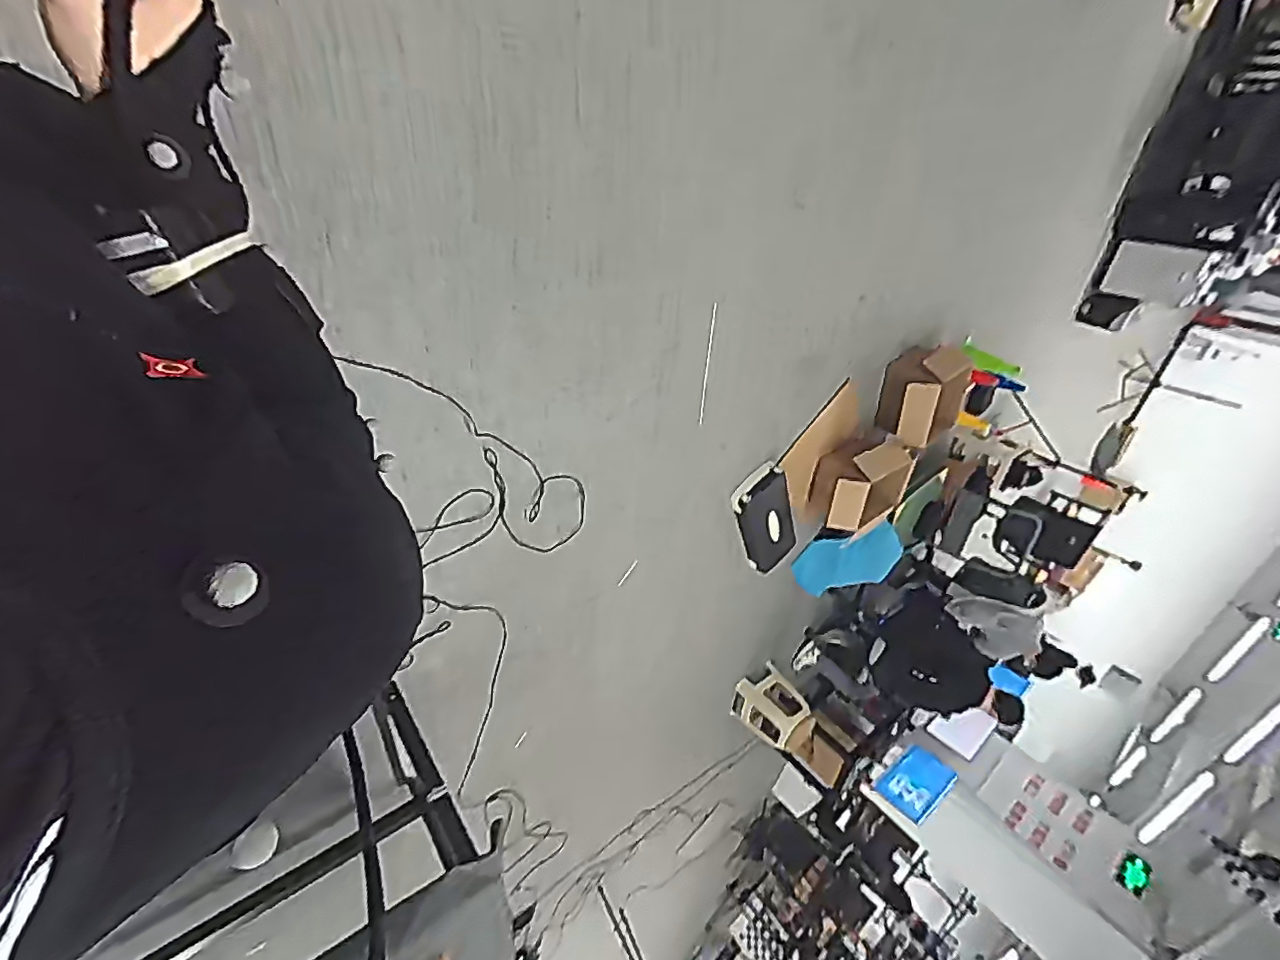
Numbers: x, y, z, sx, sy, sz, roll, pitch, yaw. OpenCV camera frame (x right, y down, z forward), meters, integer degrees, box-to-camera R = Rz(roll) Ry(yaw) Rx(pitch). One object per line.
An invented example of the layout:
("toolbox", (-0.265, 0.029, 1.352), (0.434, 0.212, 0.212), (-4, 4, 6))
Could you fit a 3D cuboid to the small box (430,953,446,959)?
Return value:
("small box", (-0.497, 1.249, 1.238), (0.179, 0.176, 0.168), (-21, 130, -32))
